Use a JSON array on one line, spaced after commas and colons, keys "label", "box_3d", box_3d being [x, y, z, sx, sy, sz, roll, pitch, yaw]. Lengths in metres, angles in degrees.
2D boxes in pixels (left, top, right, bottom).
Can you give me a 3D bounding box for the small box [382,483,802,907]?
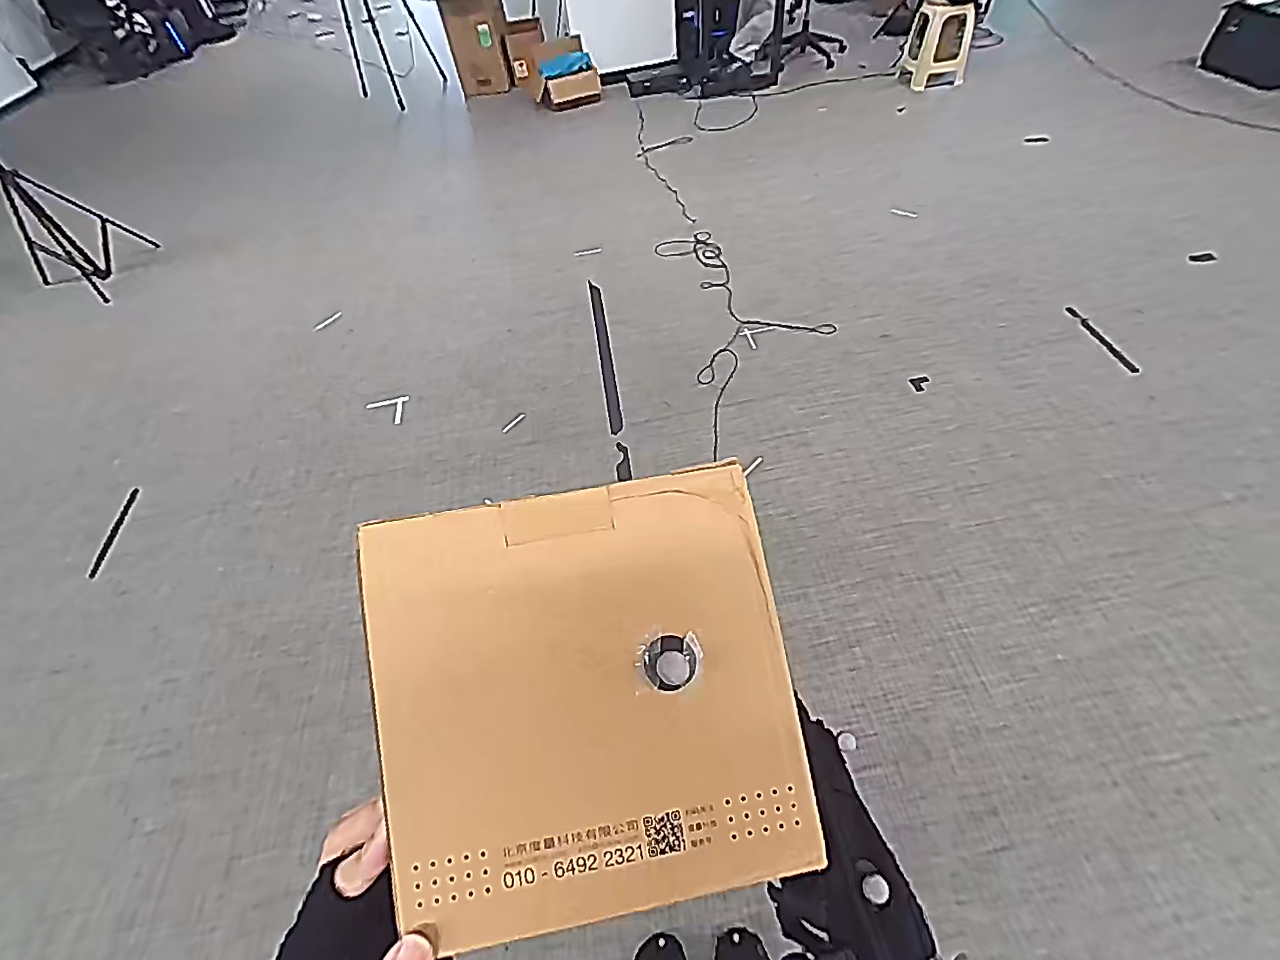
[{"label": "small box", "box_3d": [-0.022, 0.108, 0.314, 0.168, 0.179, 0.176, -10, 82, -3]}]
